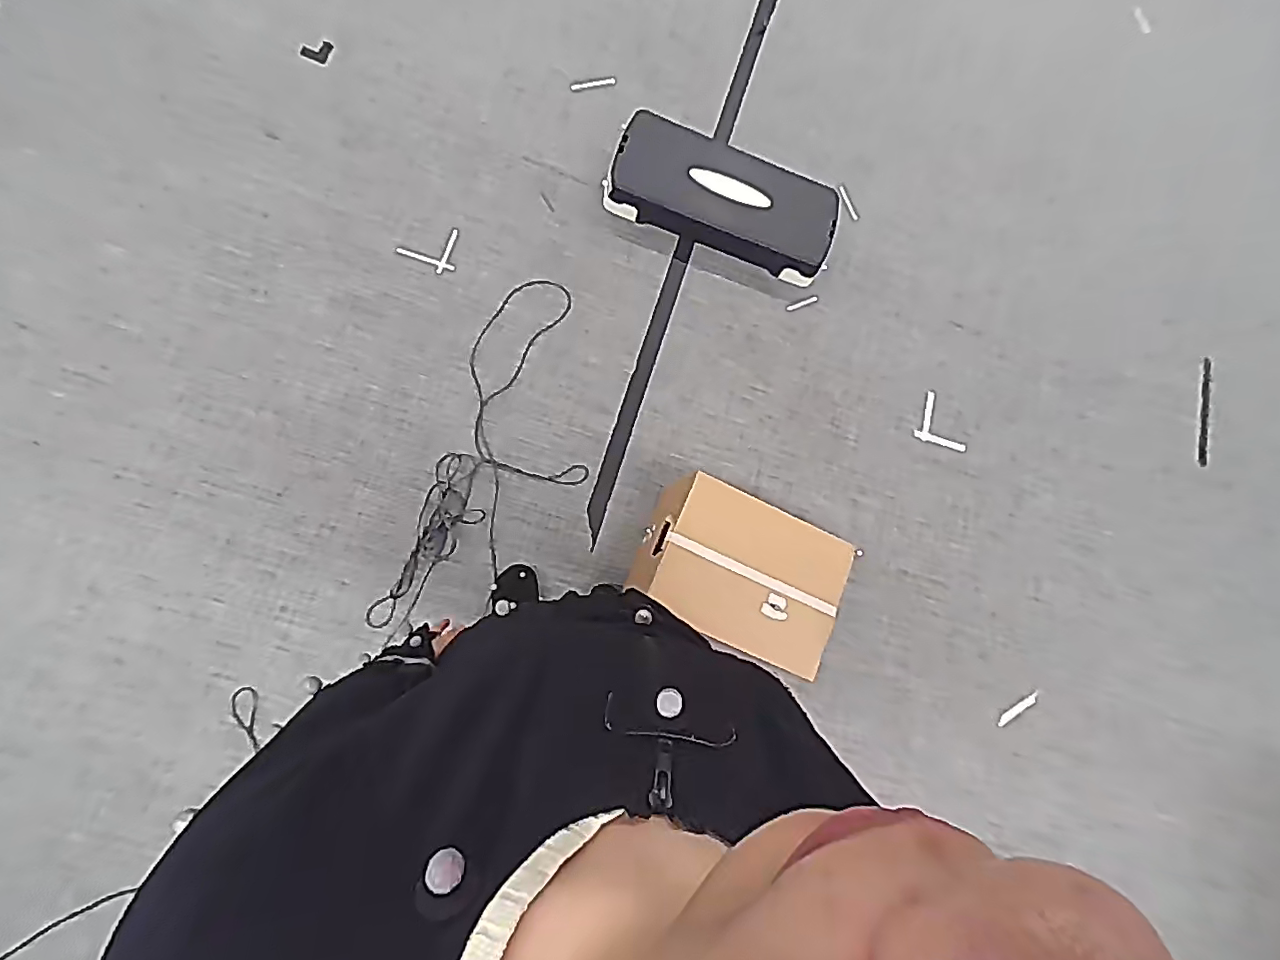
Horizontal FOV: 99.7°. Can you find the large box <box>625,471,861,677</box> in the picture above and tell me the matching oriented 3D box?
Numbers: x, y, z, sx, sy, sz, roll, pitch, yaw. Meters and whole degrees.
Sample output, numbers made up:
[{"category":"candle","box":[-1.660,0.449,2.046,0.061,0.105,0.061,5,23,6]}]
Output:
[{"category":"large box","box":[0.222,0.217,1.276,0.408,0.320,0.320,25,78,-6]}]
